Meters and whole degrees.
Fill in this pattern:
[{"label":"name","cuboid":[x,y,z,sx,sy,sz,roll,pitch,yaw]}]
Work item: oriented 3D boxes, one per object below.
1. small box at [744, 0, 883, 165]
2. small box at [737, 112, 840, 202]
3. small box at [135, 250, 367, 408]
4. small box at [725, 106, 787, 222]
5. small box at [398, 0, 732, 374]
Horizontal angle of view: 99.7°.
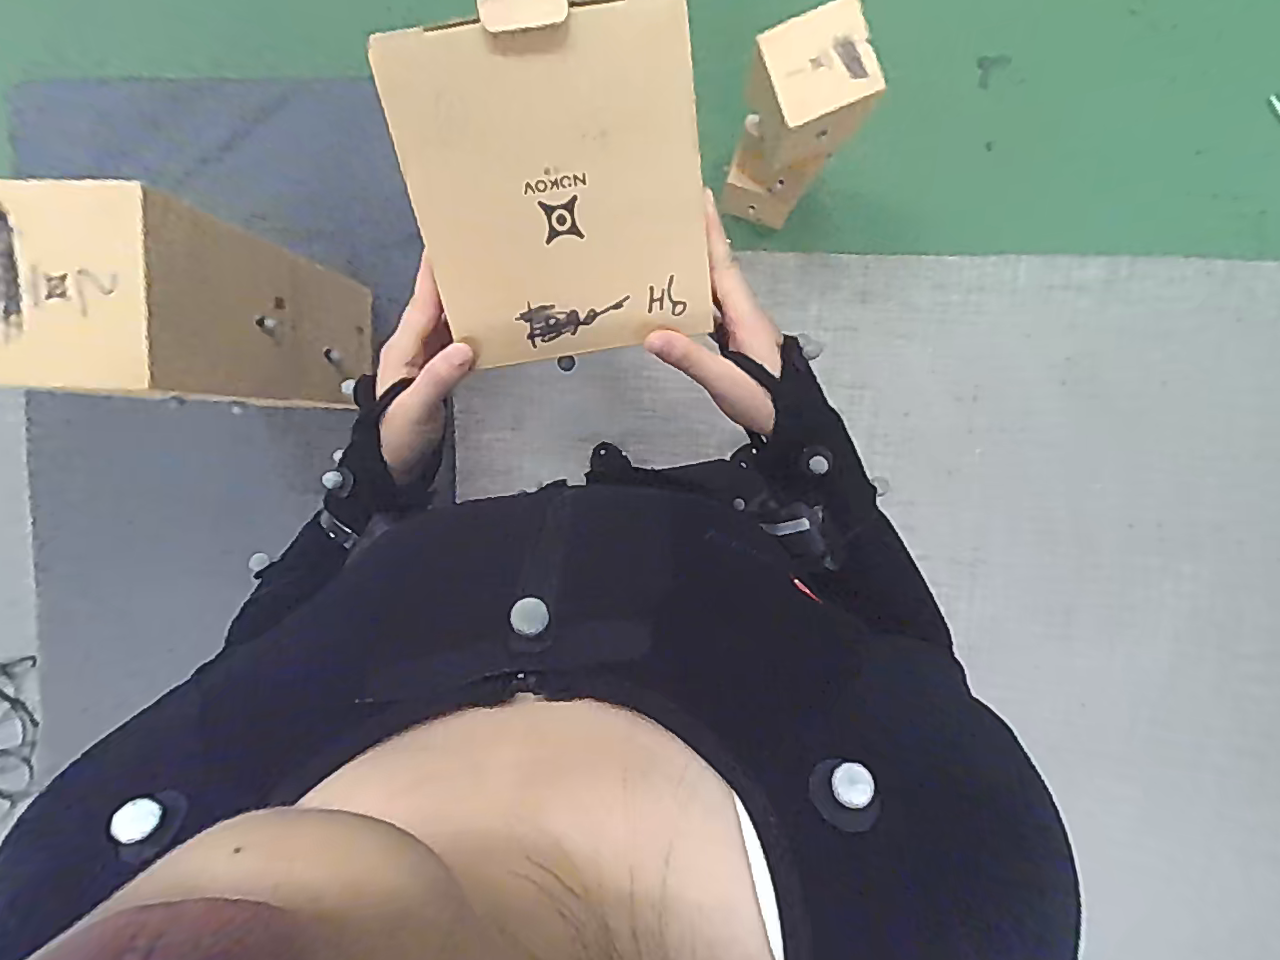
[{"label":"small box","cuboid":[0.305,-0.719,0.986,0.179,0.176,0.168,-21,95,5]},{"label":"small box","cuboid":[0.322,-0.735,1.149,0.168,0.176,0.179,39,96,-3]},{"label":"small box","cuboid":[-0.464,-0.177,0.675,0.179,0.176,0.168,2,96,4]},{"label":"small box","cuboid":[0.299,-0.758,1.311,0.168,0.176,0.179,18,96,1]},{"label":"small box","cuboid":[-0.037,-0.189,0.377,0.168,0.176,0.179,-8,117,0]}]
